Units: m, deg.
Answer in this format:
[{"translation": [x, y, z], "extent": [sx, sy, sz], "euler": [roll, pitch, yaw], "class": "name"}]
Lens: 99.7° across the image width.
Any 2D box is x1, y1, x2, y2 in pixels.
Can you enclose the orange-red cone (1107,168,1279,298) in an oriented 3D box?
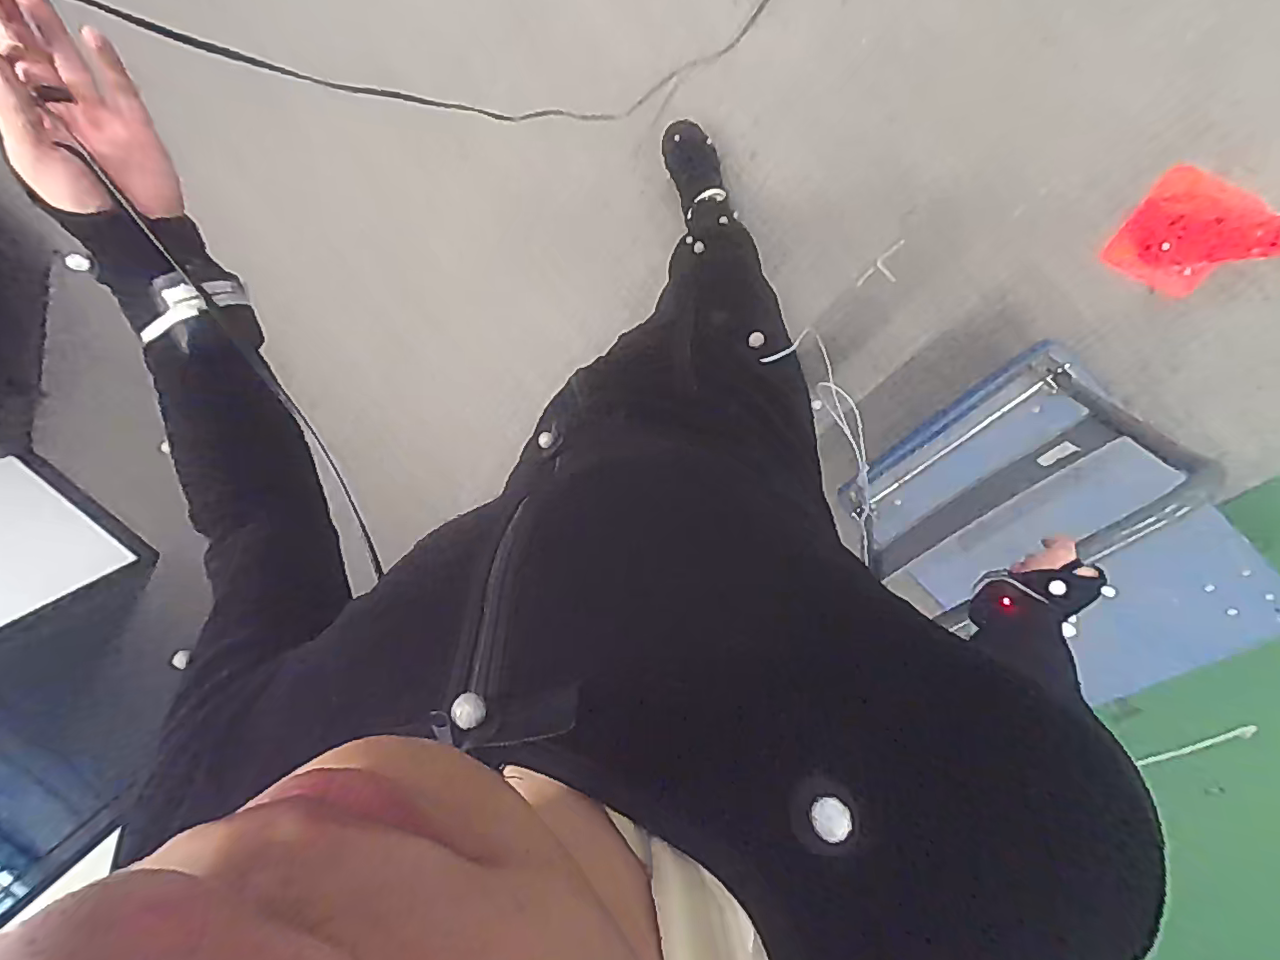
[{"translation": [1.063, -0.431, 0.959], "extent": [0.198, 0.360, 0.199], "euler": [30, 119, 3], "class": "orange-red cone"}]
